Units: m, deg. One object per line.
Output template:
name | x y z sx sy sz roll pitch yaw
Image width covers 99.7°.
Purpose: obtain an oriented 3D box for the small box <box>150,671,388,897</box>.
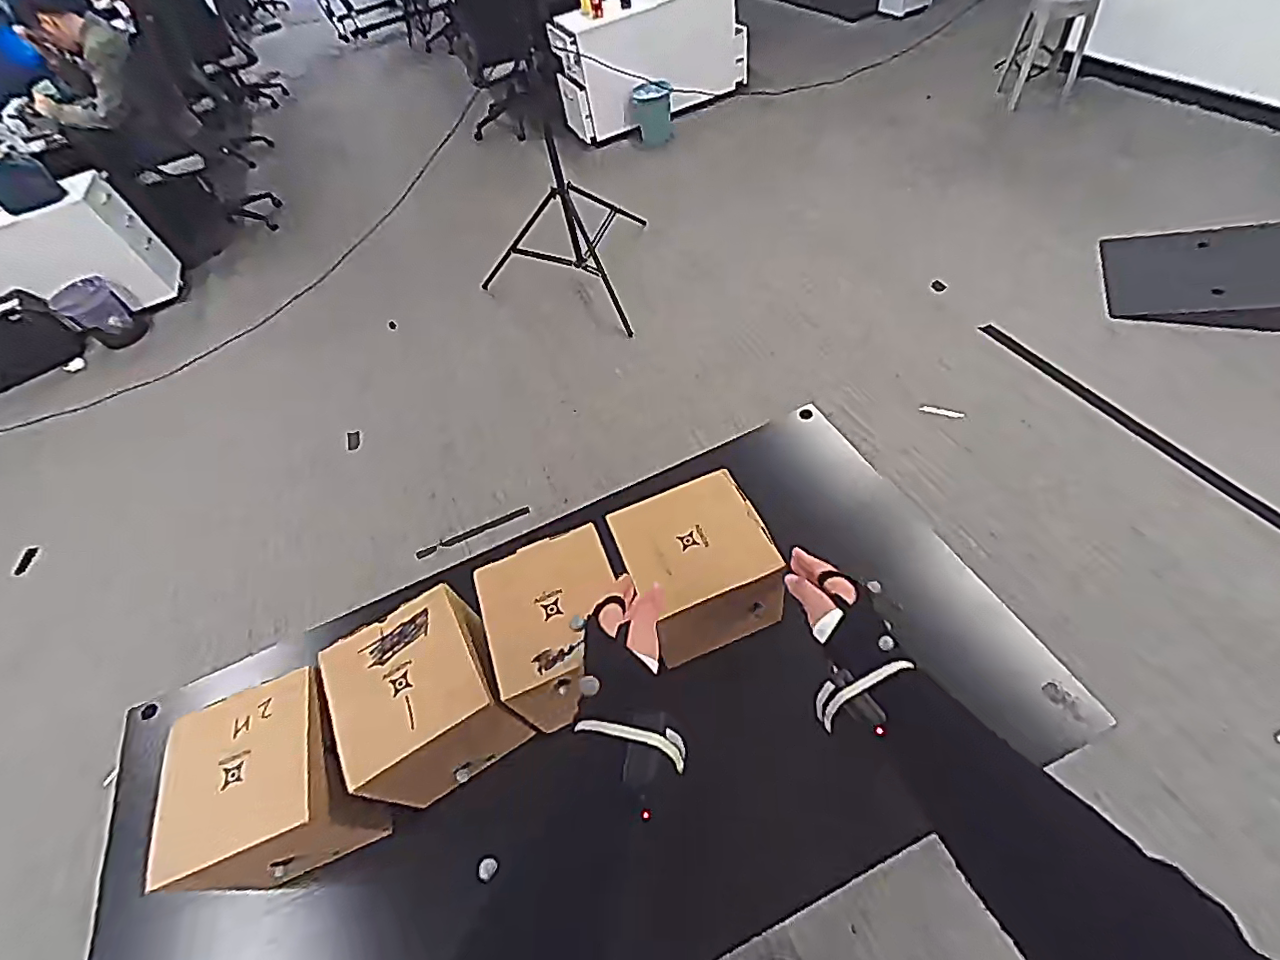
small box | -0.425 0.365 0.653 0.168 0.176 0.179 -22 52 -6
